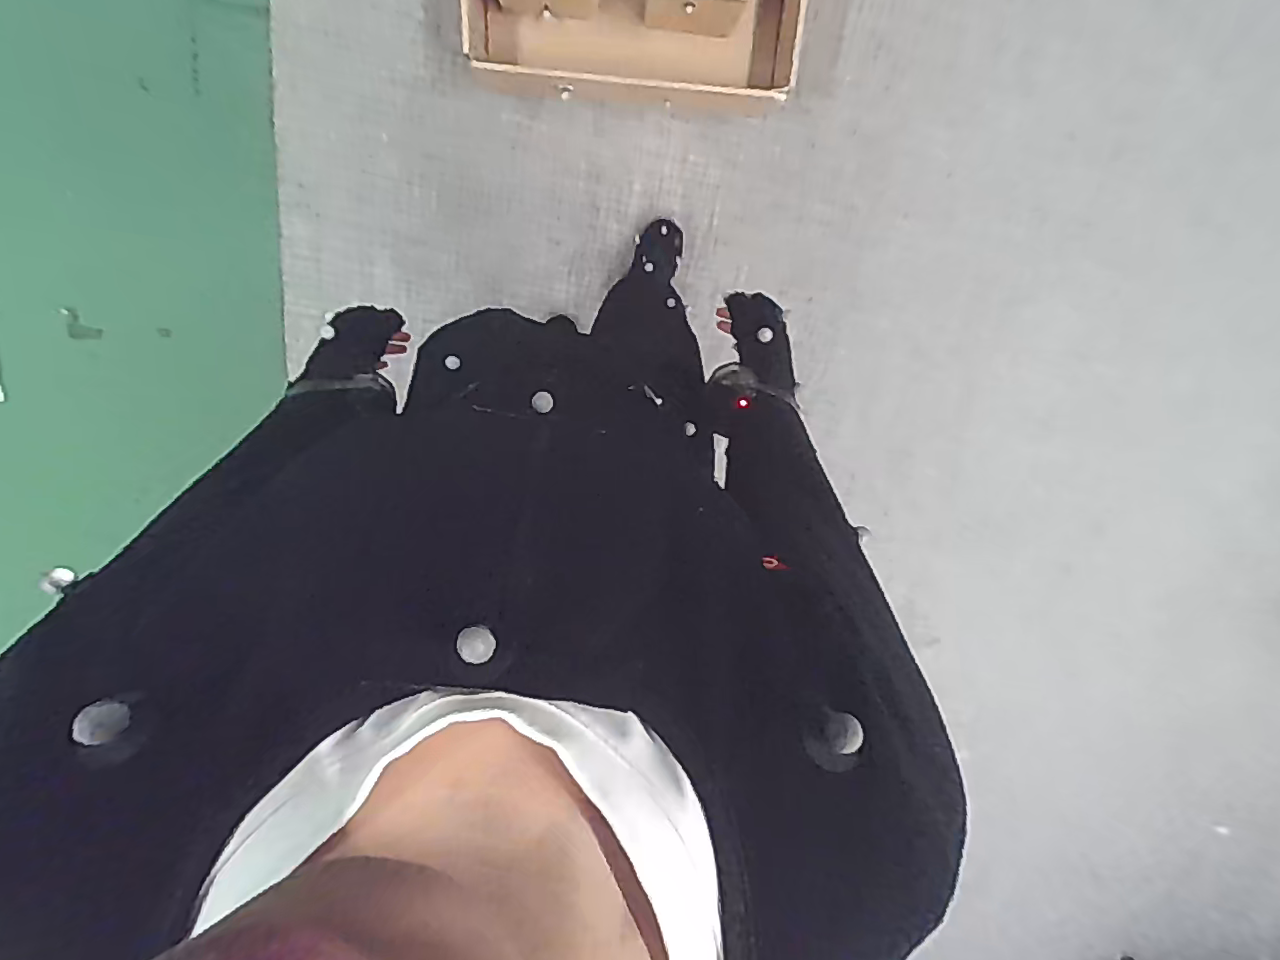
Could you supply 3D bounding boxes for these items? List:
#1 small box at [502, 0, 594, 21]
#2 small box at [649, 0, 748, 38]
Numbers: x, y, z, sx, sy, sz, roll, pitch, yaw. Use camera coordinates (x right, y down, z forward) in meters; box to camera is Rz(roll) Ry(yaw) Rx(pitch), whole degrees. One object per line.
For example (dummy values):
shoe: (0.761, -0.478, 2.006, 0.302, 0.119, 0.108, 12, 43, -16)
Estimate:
small box: (-0.169, -0.963, 0.972, 0.179, 0.176, 0.168, -1, 110, -5)
small box: (0.112, -0.952, 0.995, 0.179, 0.176, 0.168, 4, 111, -5)
